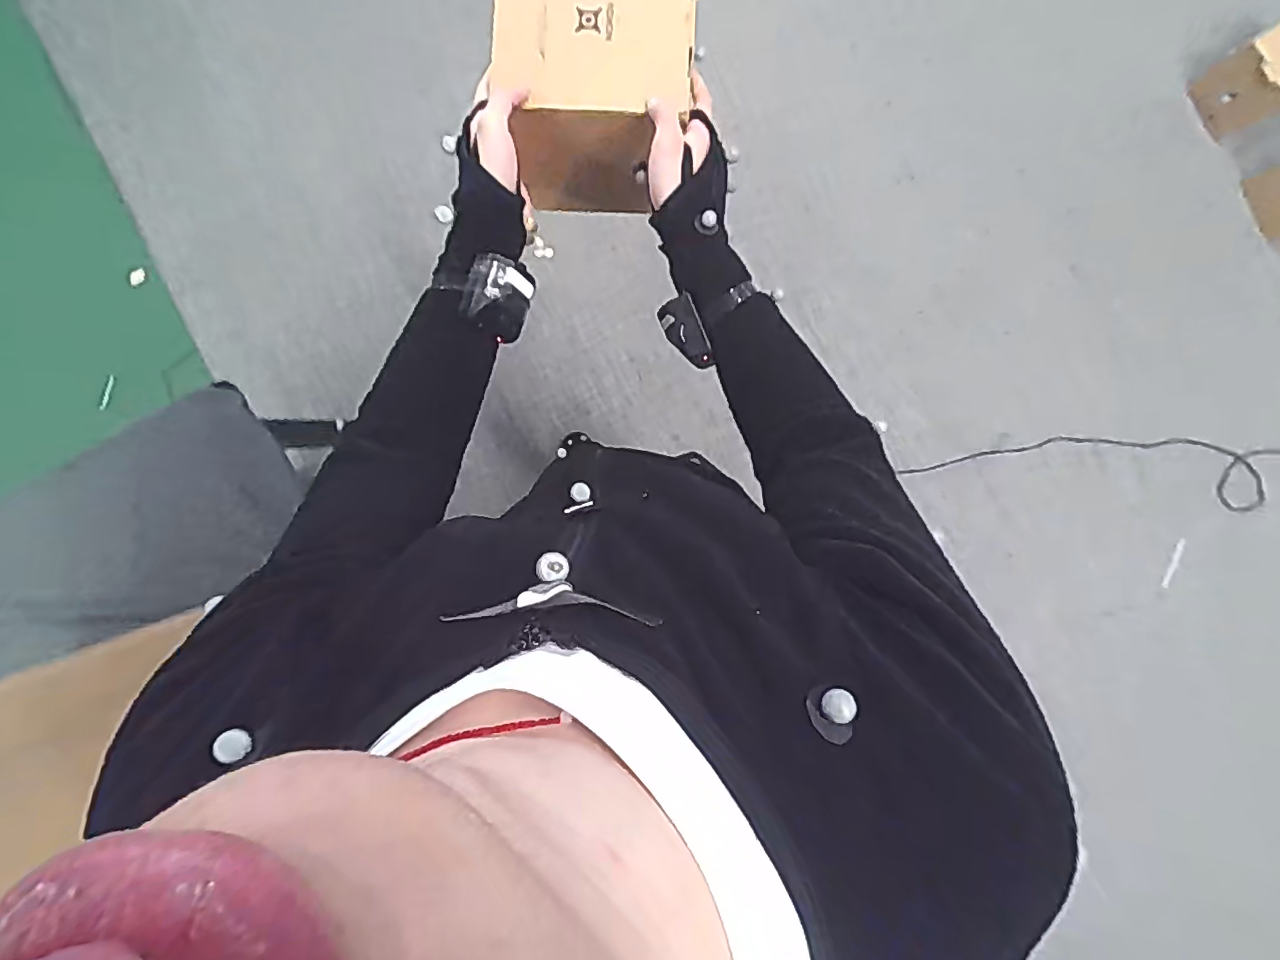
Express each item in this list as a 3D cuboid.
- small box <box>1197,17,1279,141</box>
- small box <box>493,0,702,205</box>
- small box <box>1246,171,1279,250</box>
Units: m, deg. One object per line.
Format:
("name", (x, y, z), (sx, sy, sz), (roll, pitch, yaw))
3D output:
("small box", (1.471, -0.931, 1.246), (0.179, 0.176, 0.168), (30, 95, 4))
("small box", (-0.032, -0.404, 0.549), (0.179, 0.176, 0.168), (4, 87, 4))
("small box", (1.596, -0.672, 1.259), (0.168, 0.176, 0.179), (-22, 91, 9))
